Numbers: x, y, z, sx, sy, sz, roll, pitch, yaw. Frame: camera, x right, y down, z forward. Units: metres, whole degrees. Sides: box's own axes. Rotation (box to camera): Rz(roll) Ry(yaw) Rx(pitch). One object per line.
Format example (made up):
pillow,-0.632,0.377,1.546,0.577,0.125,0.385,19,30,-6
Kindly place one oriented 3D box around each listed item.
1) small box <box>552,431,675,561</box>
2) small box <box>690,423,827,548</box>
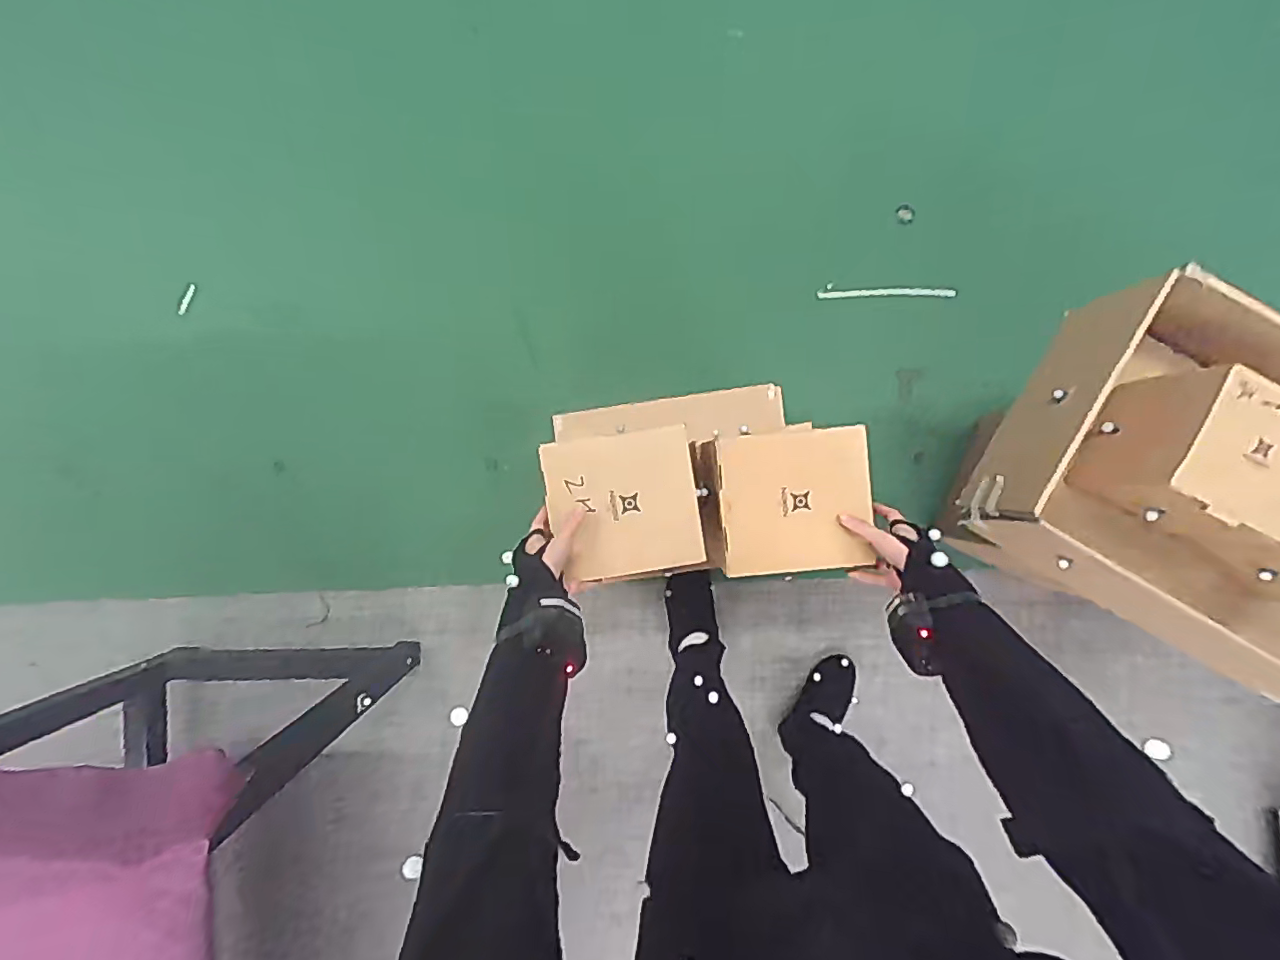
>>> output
small box,-0.040,0.024,0.872,0.168,0.176,0.179,-8,91,1
small box,0.178,0.009,0.870,0.179,0.176,0.168,-9,91,0
